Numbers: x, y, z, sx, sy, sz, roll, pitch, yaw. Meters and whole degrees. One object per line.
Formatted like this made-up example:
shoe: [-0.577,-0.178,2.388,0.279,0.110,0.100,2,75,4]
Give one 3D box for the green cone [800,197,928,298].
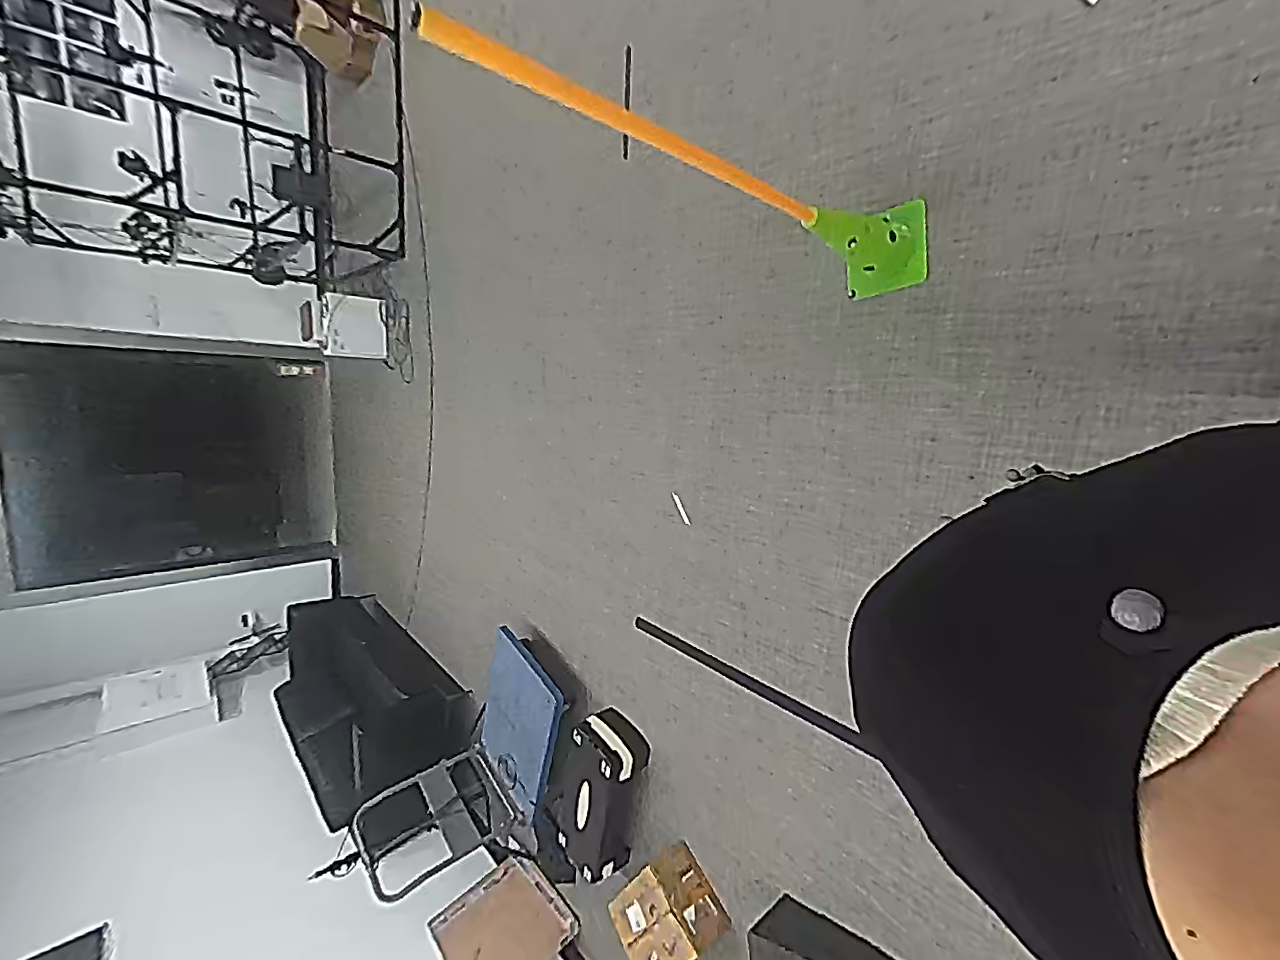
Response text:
green cone: [0.487,-0.569,1.239,0.200,0.368,0.202,-1,91,49]
